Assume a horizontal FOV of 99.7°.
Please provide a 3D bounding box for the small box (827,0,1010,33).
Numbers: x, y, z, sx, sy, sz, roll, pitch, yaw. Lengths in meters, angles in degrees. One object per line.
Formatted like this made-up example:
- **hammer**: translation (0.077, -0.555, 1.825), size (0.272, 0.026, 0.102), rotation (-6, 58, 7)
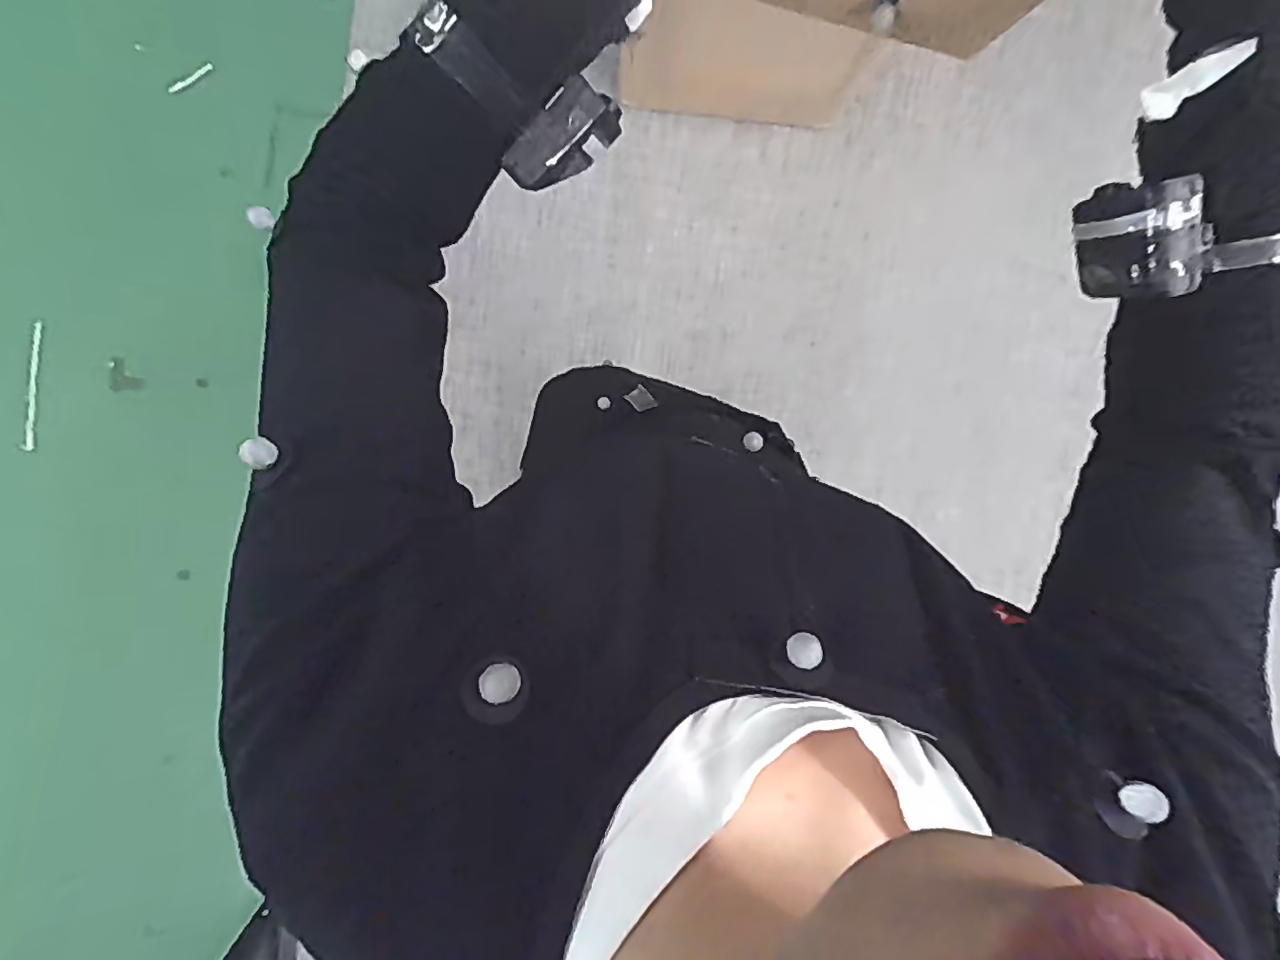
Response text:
- **small box**: translation (0.187, -0.399, 0.300), size (0.179, 0.176, 0.168), rotation (11, 103, -6)
